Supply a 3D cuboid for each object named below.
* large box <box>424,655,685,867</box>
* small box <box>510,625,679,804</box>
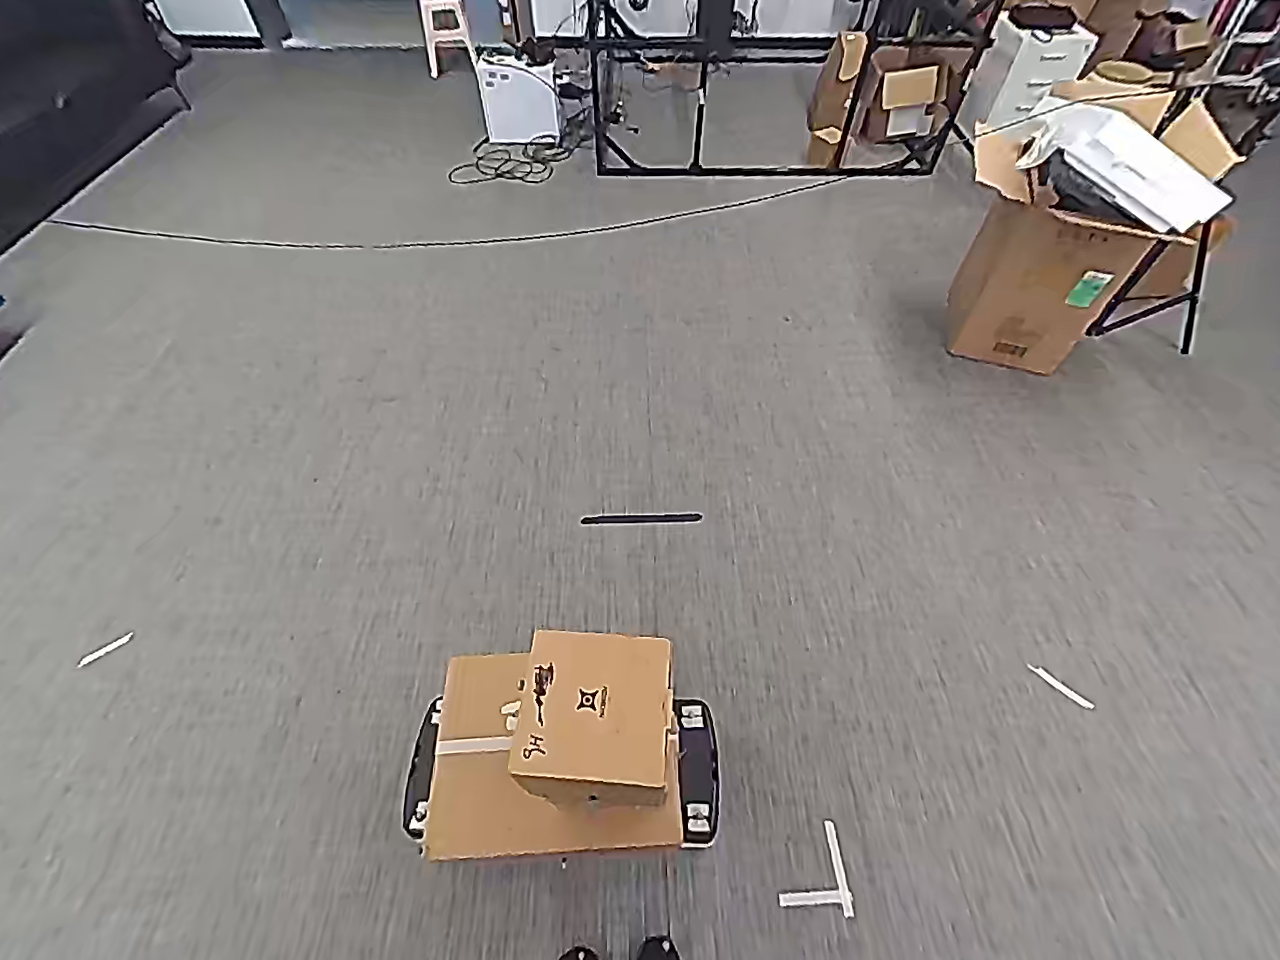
[{"bbox_3d":[-0.136,0.531,1.028,0.408,0.320,0.320,-3,52,-1],"label":"large box"},{"bbox_3d":[-0.049,0.303,0.689,0.179,0.176,0.168,5,52,2],"label":"small box"}]
